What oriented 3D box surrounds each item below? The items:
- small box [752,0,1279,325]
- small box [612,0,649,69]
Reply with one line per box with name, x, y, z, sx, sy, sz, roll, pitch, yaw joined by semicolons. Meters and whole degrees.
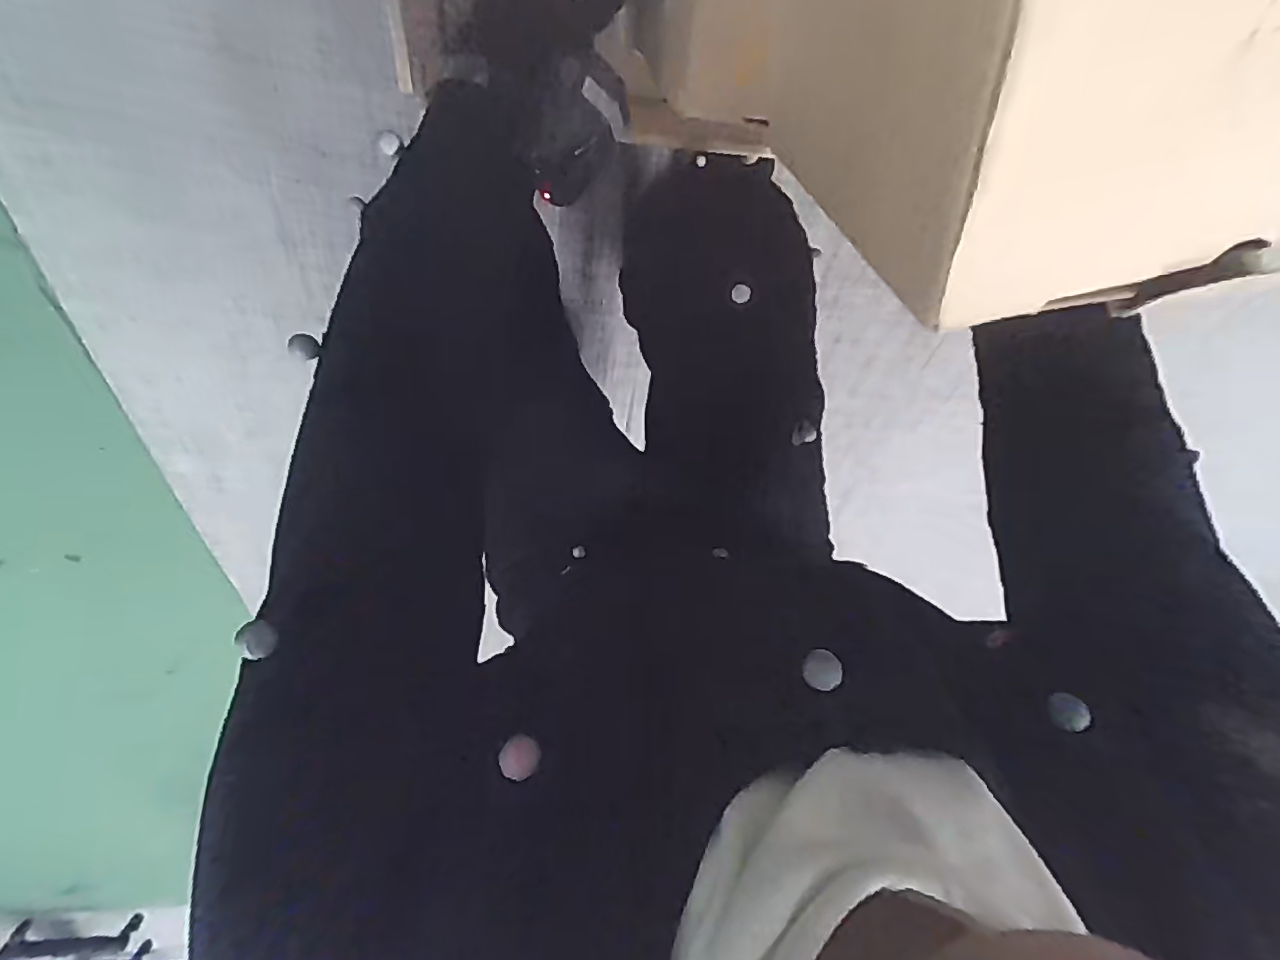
small box;0.131;-0.177;0.149;0.168;0.176;0.179;-12;139;4
small box;0.077;-0.398;0.381;0.179;0.176;0.168;2;136;-8
